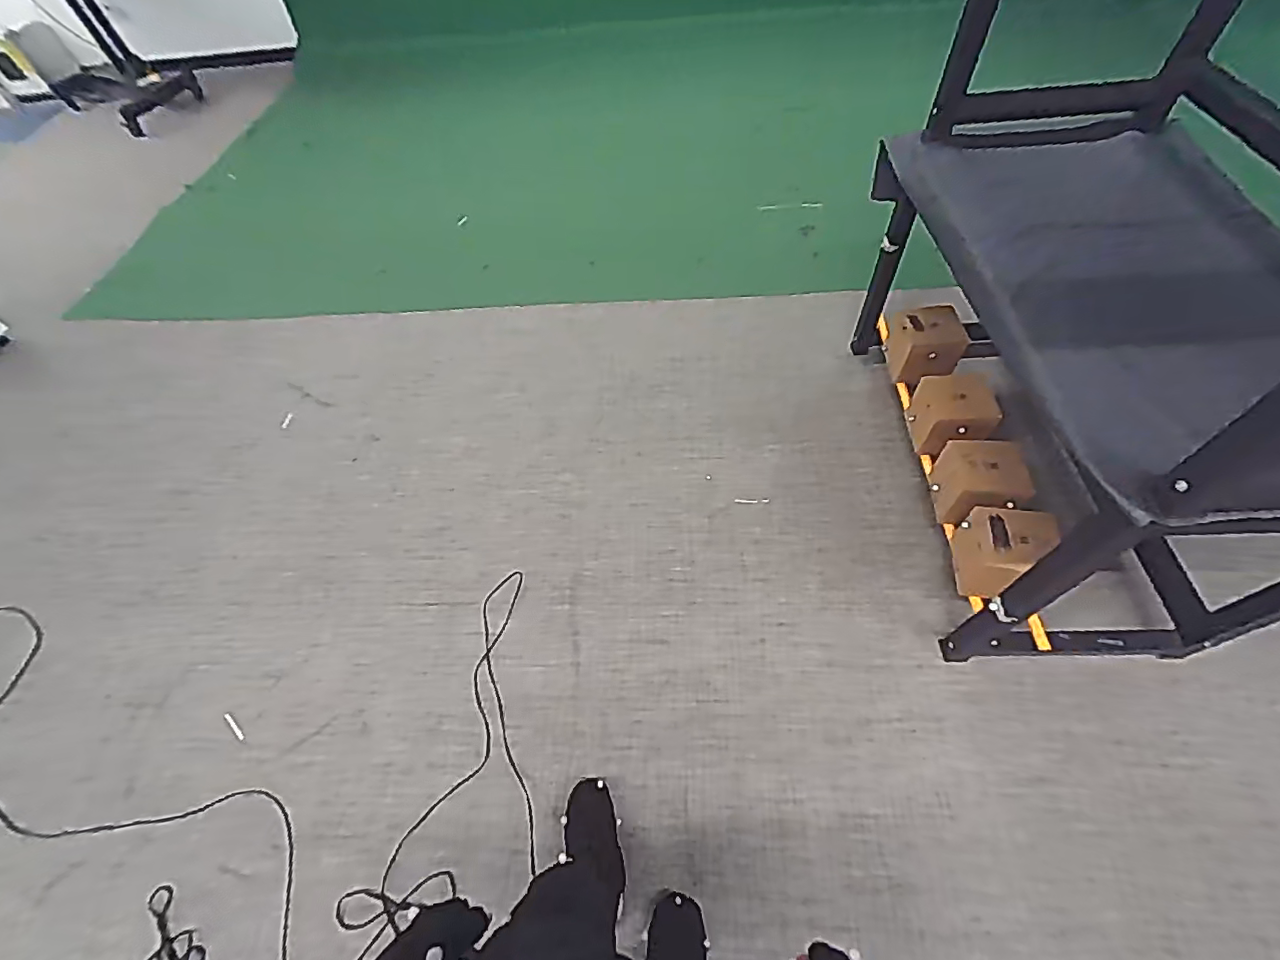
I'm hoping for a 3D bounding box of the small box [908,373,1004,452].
[{"bbox_3d":[0.911,-0.193,1.575,0.179,0.176,0.168,-2,57,7],"label":"small box"}]
